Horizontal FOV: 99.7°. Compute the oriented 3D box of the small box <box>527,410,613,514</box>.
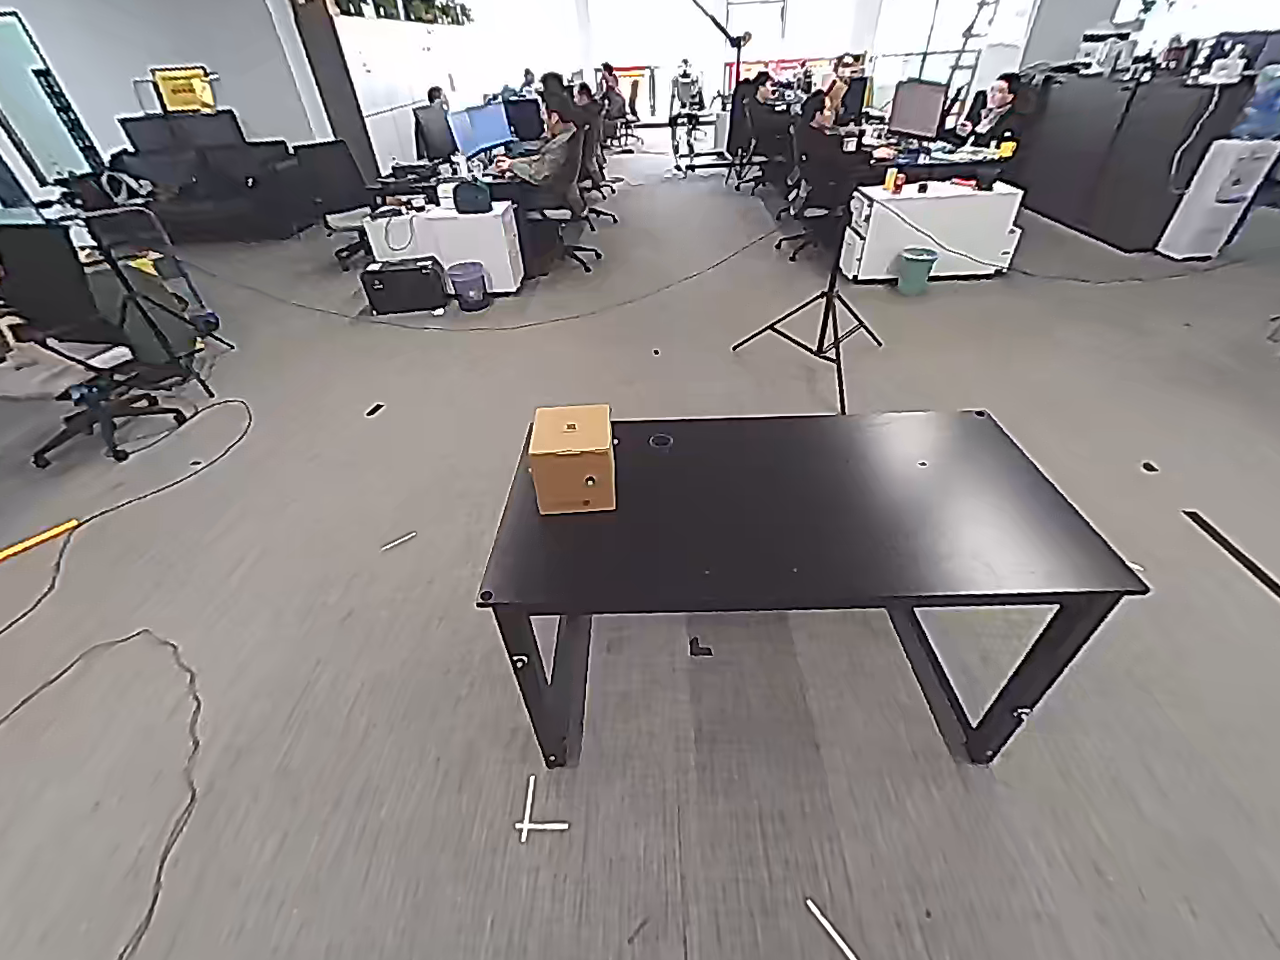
[{"bbox_3d":[-0.148,-0.035,1.202,0.168,0.176,0.179,-3,38,-2],"label":"small box"}]
